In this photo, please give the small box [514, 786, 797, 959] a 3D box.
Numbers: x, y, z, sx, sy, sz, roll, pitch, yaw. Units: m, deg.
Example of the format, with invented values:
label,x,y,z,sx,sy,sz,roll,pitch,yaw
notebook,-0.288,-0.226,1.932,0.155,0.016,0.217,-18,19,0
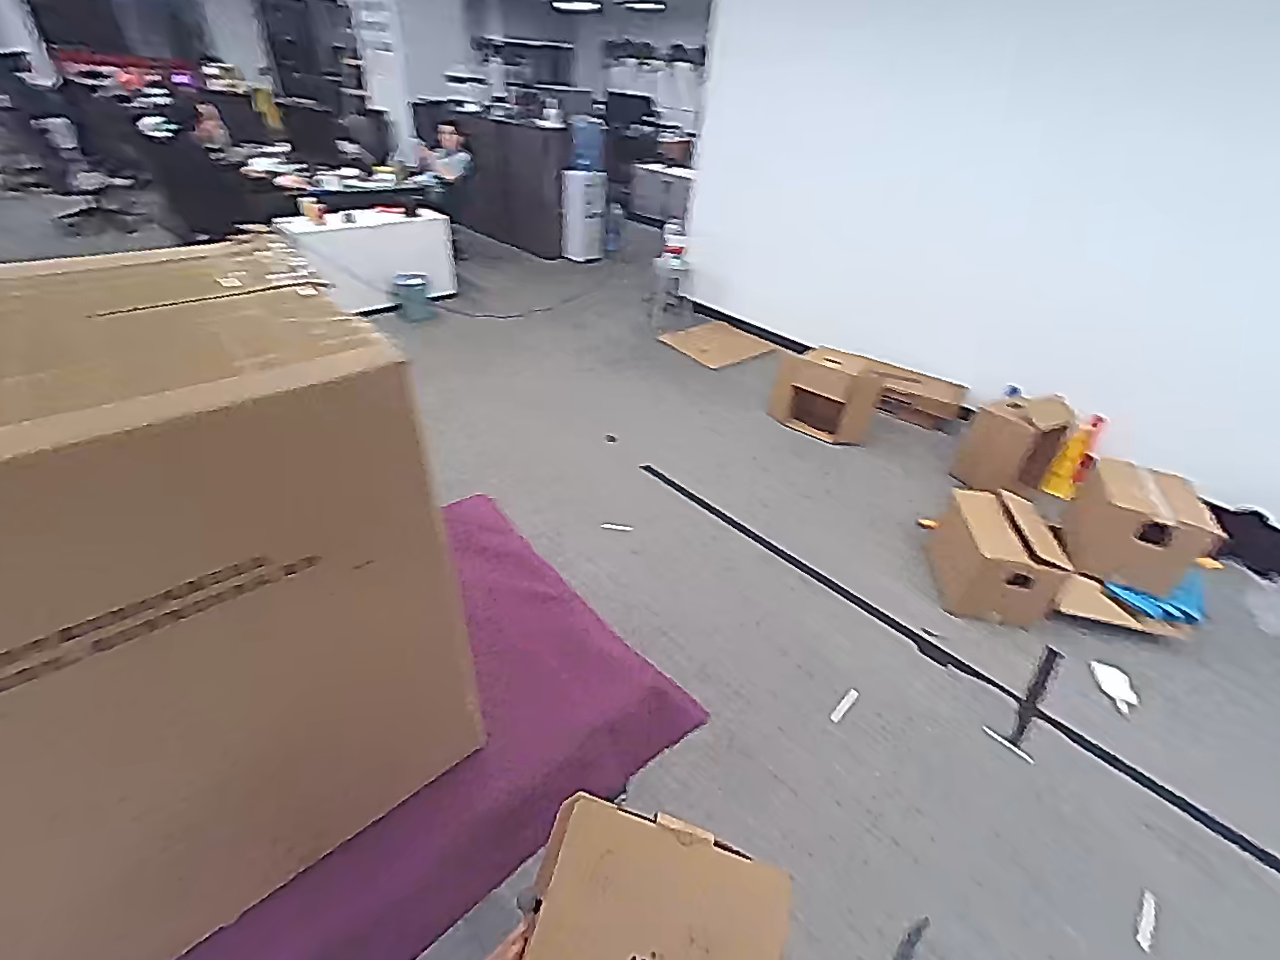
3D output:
label,x,y,z,sx,sy,sz,roll,pitch,yaw
small box,-0.003,0.357,0.401,0.168,0.176,0.179,20,54,1
